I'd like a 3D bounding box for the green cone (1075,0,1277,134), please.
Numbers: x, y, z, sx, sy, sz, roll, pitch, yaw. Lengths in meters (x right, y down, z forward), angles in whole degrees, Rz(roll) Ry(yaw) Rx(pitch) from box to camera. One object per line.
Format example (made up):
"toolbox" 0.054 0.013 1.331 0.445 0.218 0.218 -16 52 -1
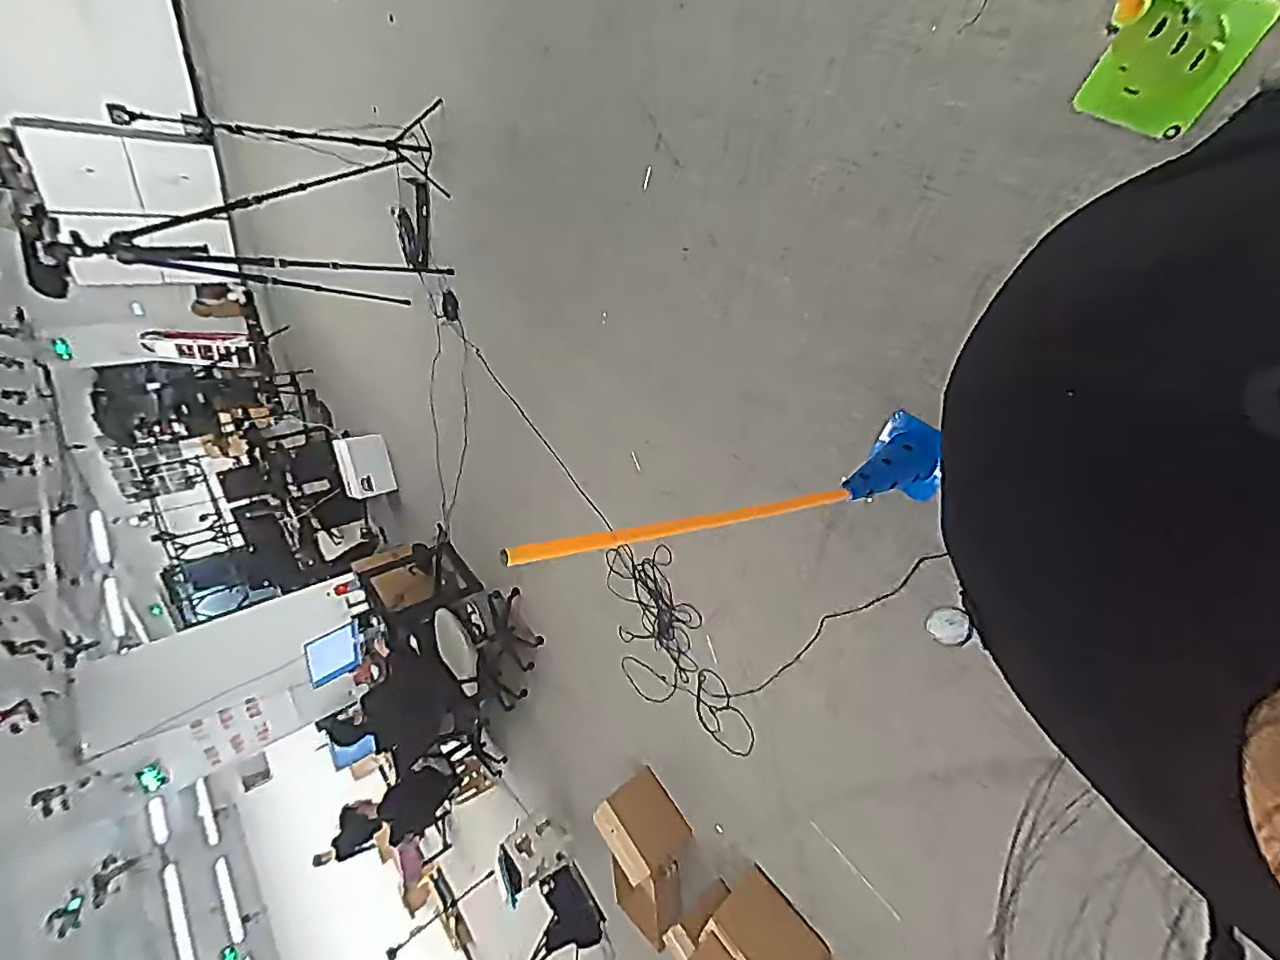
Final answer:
"green cone" 0.813 -0.714 0.860 0.202 0.368 0.200 46 135 28
